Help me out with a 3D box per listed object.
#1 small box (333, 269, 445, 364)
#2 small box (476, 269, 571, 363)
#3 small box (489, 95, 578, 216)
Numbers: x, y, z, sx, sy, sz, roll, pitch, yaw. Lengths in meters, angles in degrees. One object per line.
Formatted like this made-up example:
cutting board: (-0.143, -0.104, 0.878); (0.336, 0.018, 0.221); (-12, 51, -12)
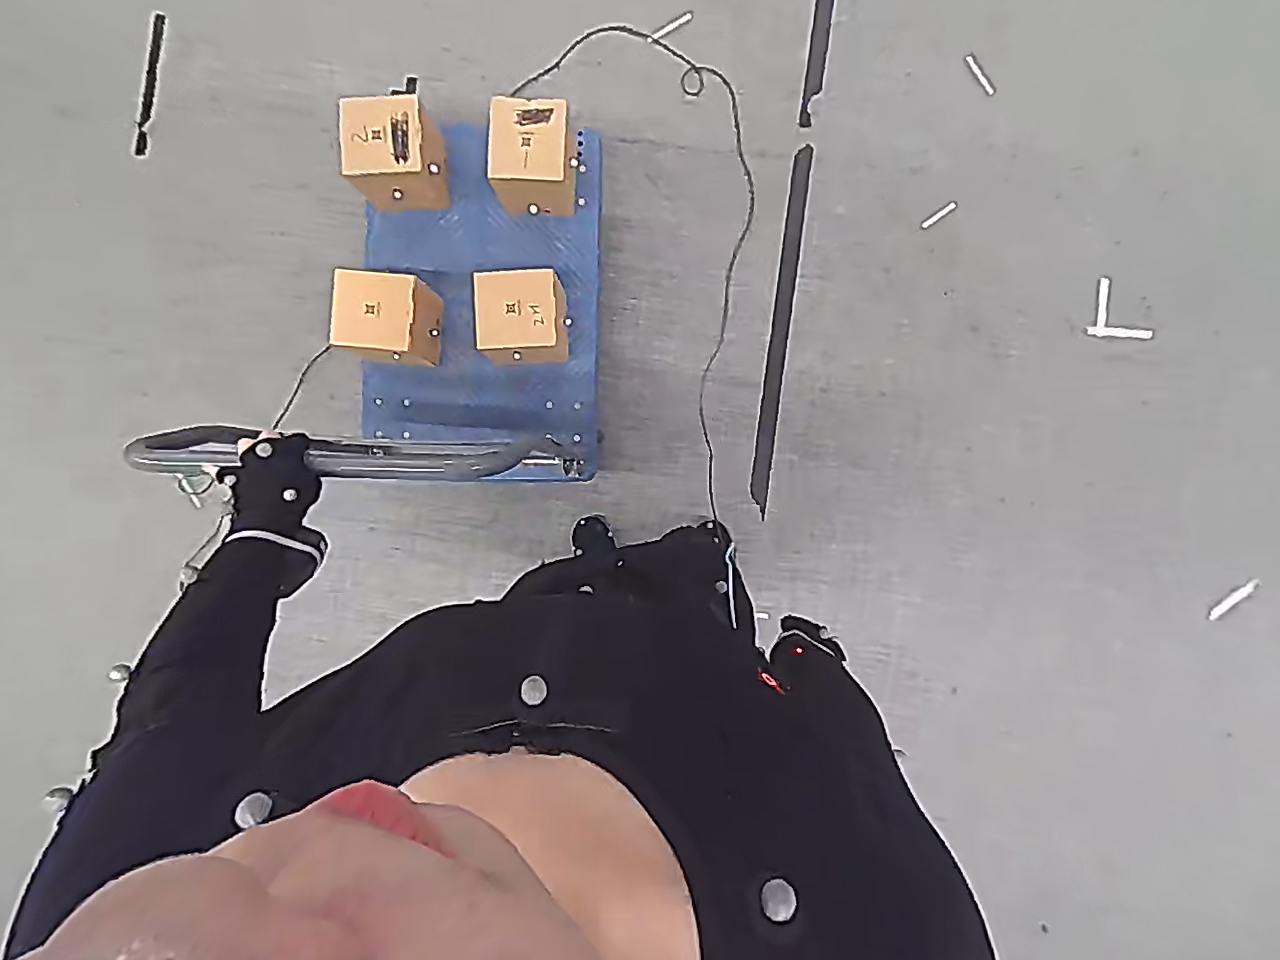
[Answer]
small box: (-0.569, -0.367, 1.242); (0.179, 0.176, 0.168); (4, 91, 0)
small box: (-0.260, -0.367, 1.234); (0.179, 0.176, 0.168); (-3, 91, 2)
small box: (-0.234, -0.730, 1.229); (0.168, 0.176, 0.179); (3, 92, 1)
